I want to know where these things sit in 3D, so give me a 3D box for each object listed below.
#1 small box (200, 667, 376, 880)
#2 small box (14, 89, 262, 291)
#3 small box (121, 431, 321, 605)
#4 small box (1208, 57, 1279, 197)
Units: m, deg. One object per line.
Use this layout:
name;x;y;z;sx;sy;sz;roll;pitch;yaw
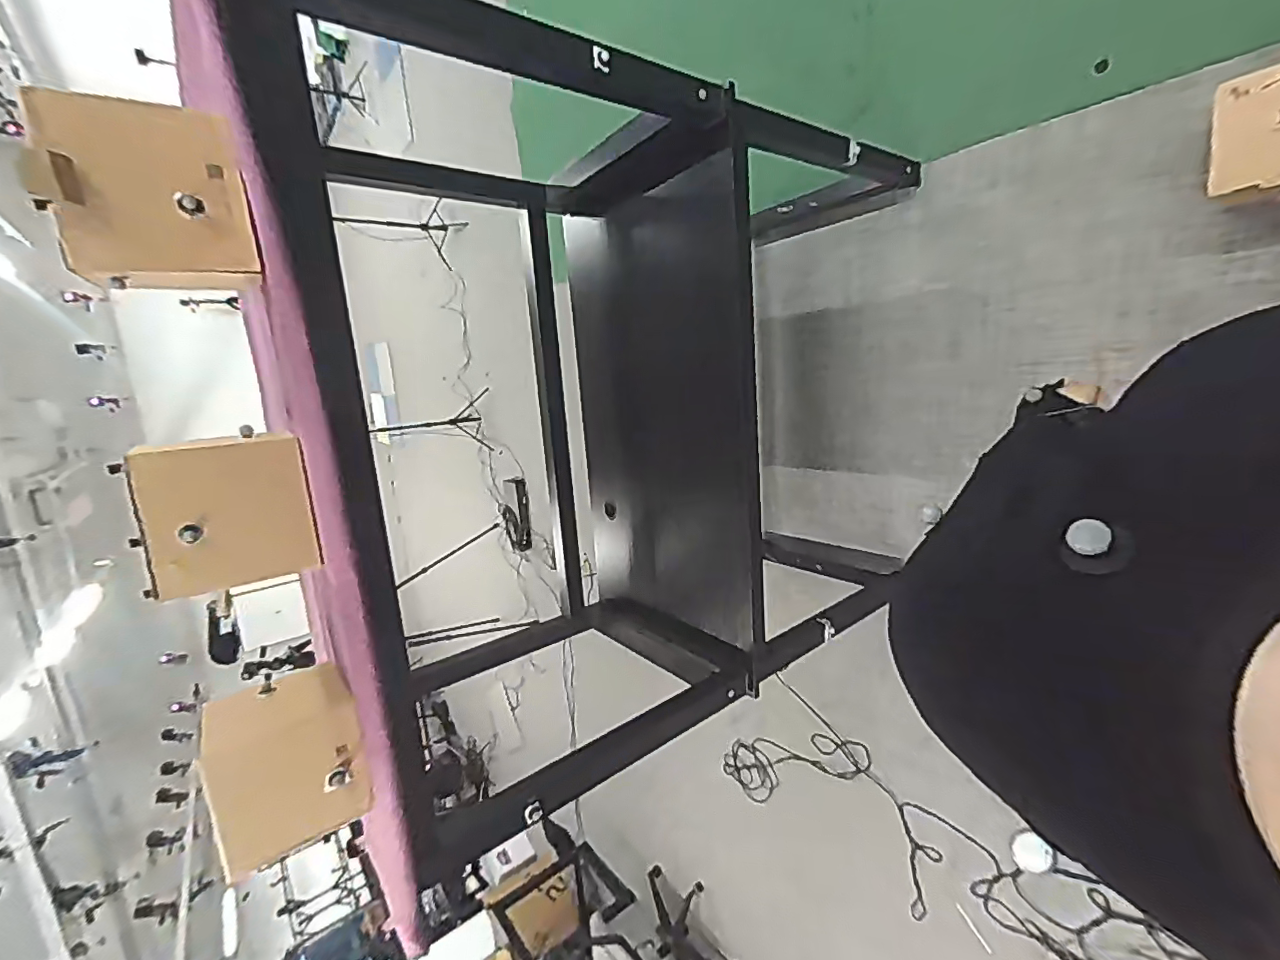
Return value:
small box;-0.481;0.381;0.746;0.179;0.176;0.168;3;104;51
small box;-0.559;-0.315;0.633;0.179;0.176;0.168;15;114;53
small box;-0.533;0.036;0.709;0.168;0.176;0.179;11;109;53
small box;1.056;-0.574;0.871;0.168;0.176;0.179;8;106;53
